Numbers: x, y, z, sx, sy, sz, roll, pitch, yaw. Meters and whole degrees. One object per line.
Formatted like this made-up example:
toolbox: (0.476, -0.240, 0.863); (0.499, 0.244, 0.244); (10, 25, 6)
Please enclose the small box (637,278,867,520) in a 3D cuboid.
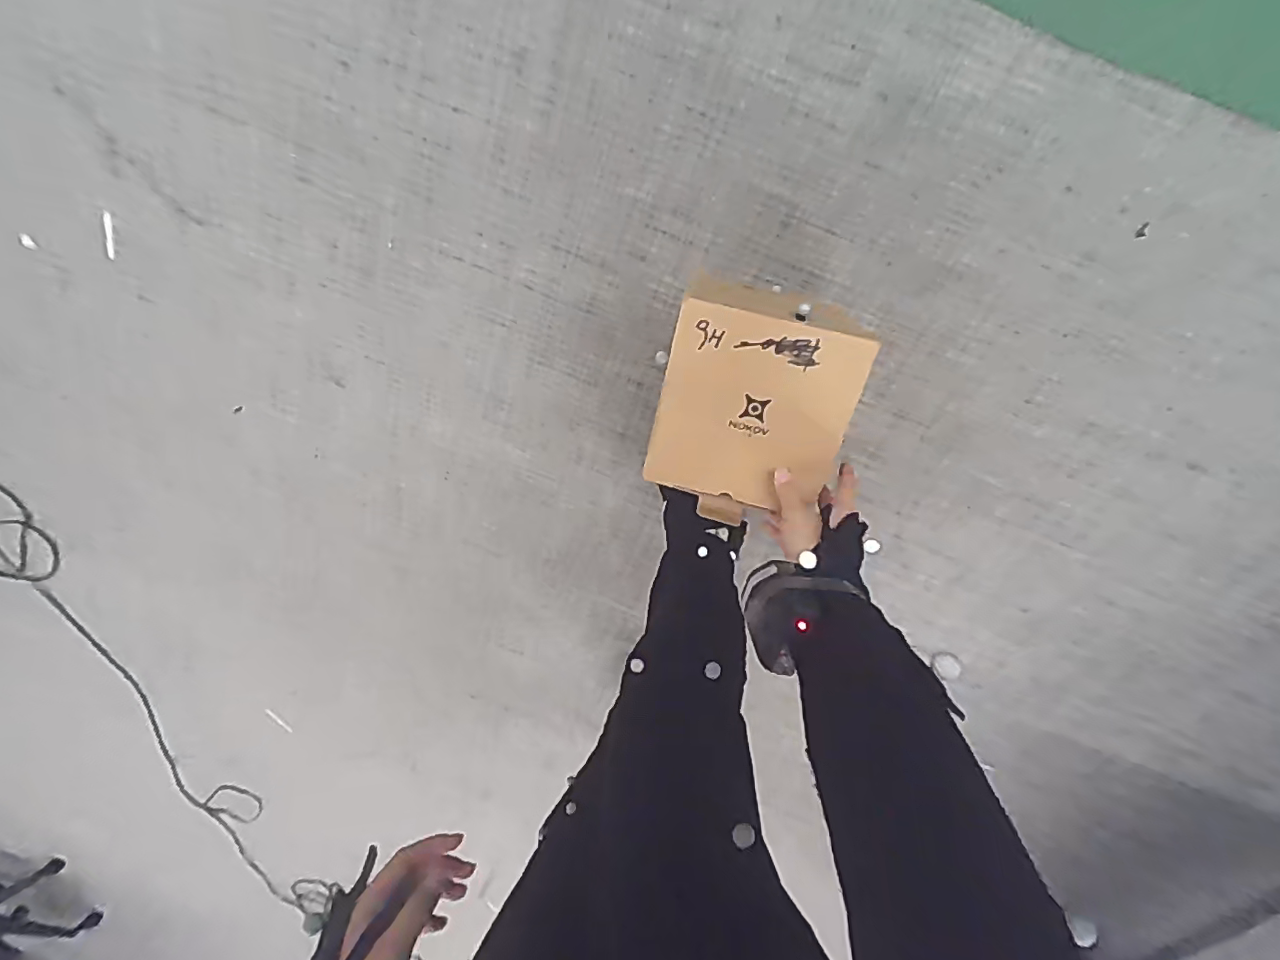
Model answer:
small box: (0.103, -0.090, 0.552); (0.168, 0.176, 0.179); (13, 119, 1)
